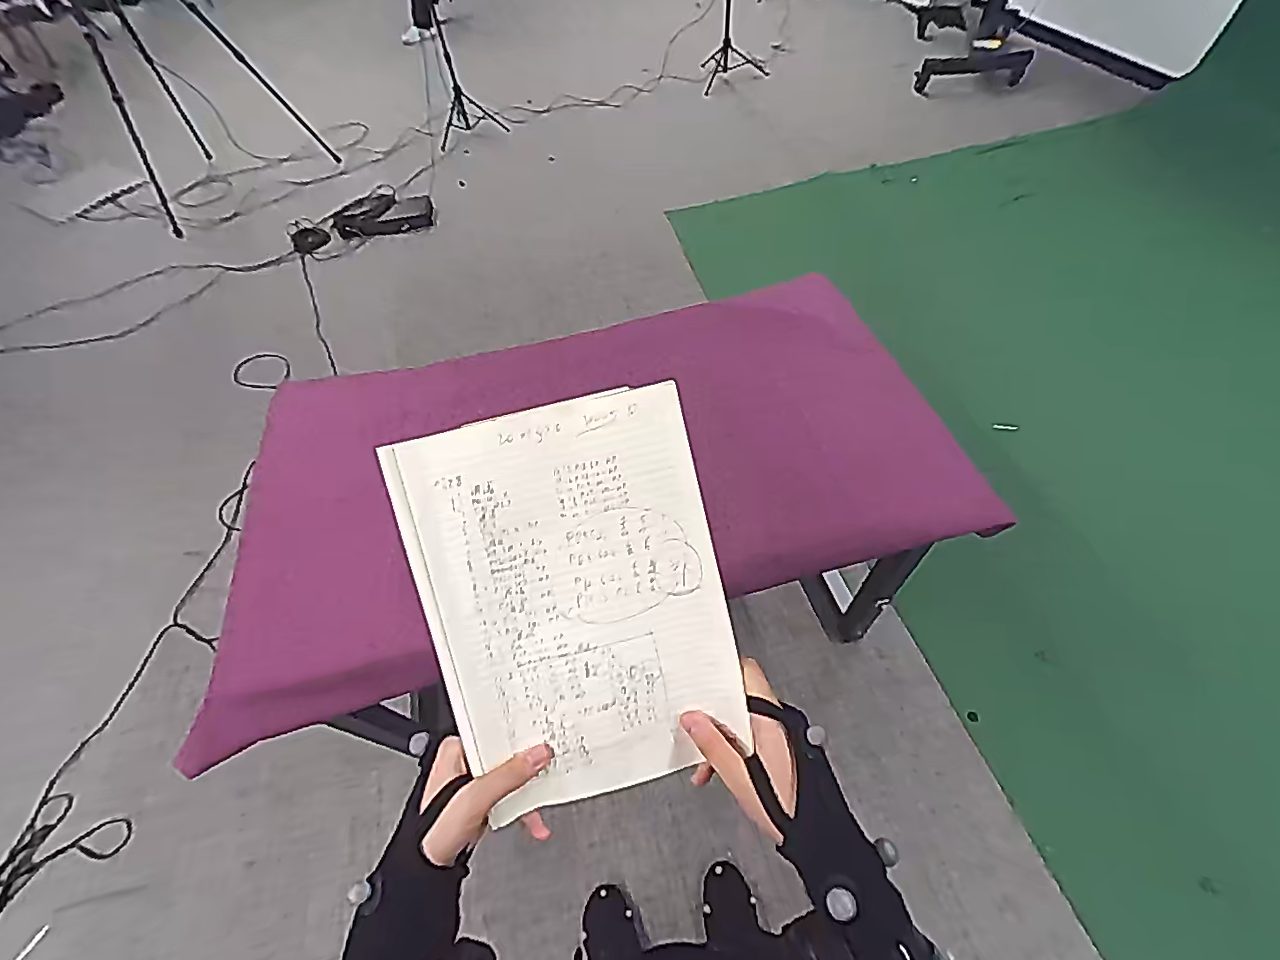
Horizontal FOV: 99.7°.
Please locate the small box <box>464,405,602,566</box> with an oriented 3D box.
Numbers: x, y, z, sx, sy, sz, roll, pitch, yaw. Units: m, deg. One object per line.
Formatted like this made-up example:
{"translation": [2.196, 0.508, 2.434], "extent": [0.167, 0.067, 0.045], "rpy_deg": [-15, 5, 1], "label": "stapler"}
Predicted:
{"translation": [-0.161, 0.018, 0.838], "extent": [0.168, 0.176, 0.179], "rpy_deg": [-14, 55, -5], "label": "small box"}
